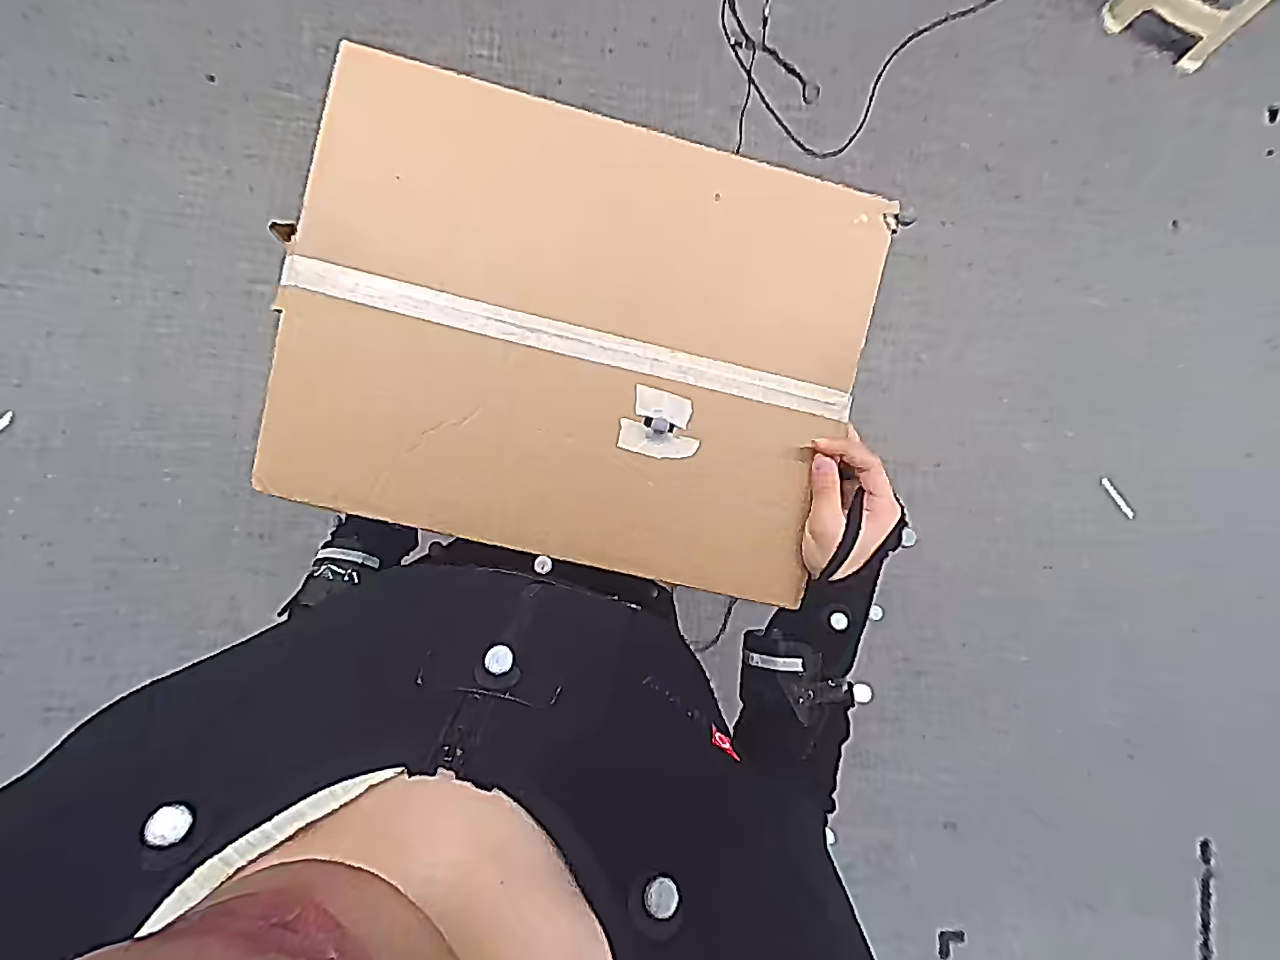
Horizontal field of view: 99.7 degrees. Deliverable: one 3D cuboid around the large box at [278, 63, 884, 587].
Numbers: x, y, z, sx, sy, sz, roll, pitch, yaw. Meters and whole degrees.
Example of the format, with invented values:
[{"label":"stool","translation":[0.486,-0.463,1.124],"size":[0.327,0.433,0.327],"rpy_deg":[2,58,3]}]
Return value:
[{"label":"large box","translation":[-0.051,-0.111,0.545],"size":[0.408,0.320,0.320],"rpy_deg":[13,93,-6]}]
